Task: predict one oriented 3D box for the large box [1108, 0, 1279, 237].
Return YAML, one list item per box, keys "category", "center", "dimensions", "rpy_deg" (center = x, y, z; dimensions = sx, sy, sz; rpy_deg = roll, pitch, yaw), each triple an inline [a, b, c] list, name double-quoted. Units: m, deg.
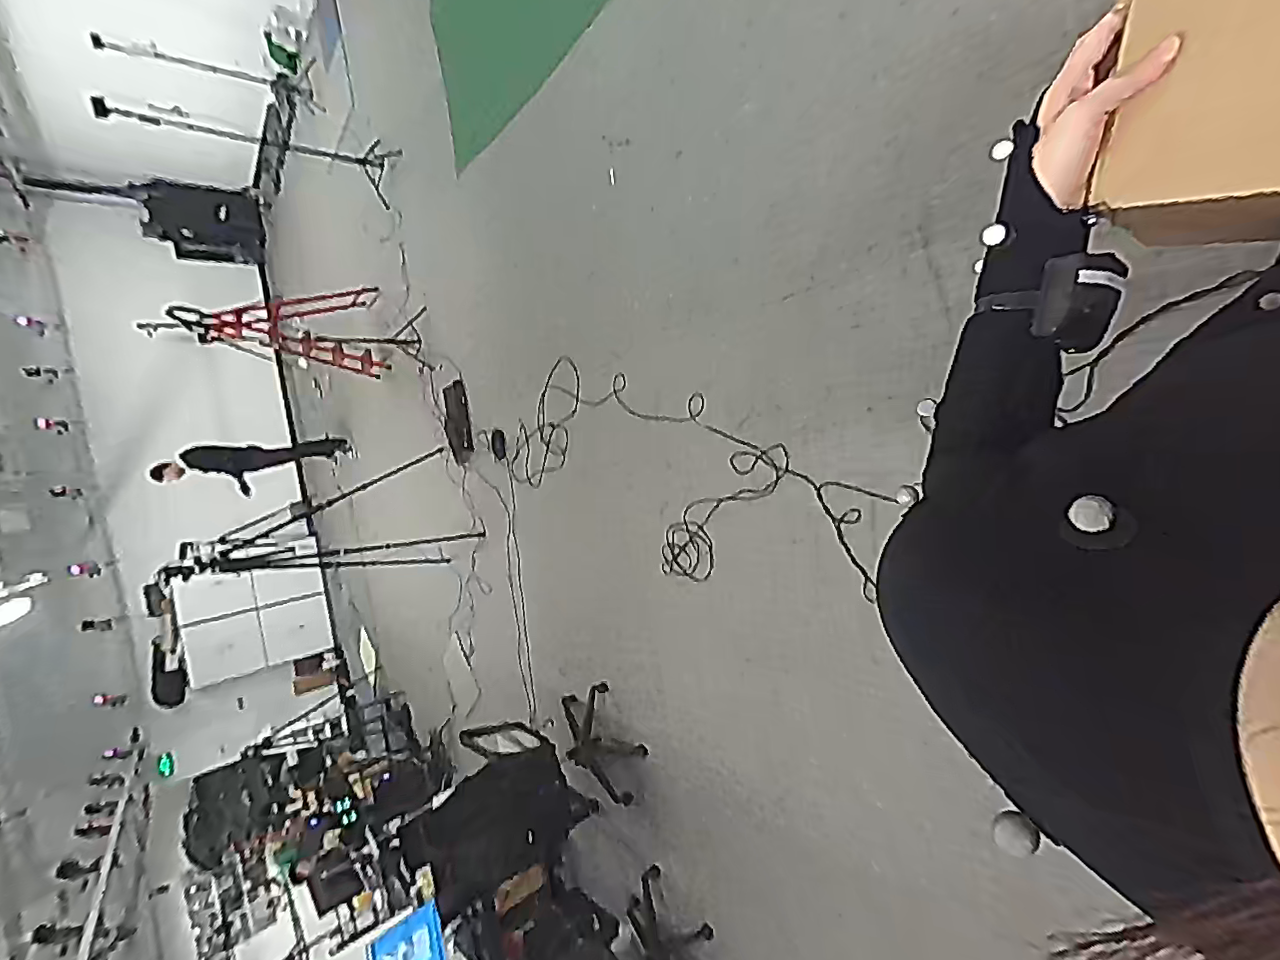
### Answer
- category: "large box"
  center: [0.585, -0.347, 0.319]
  dimensions: [0.408, 0.320, 0.320]
  rpy_deg: [17, 114, 44]
